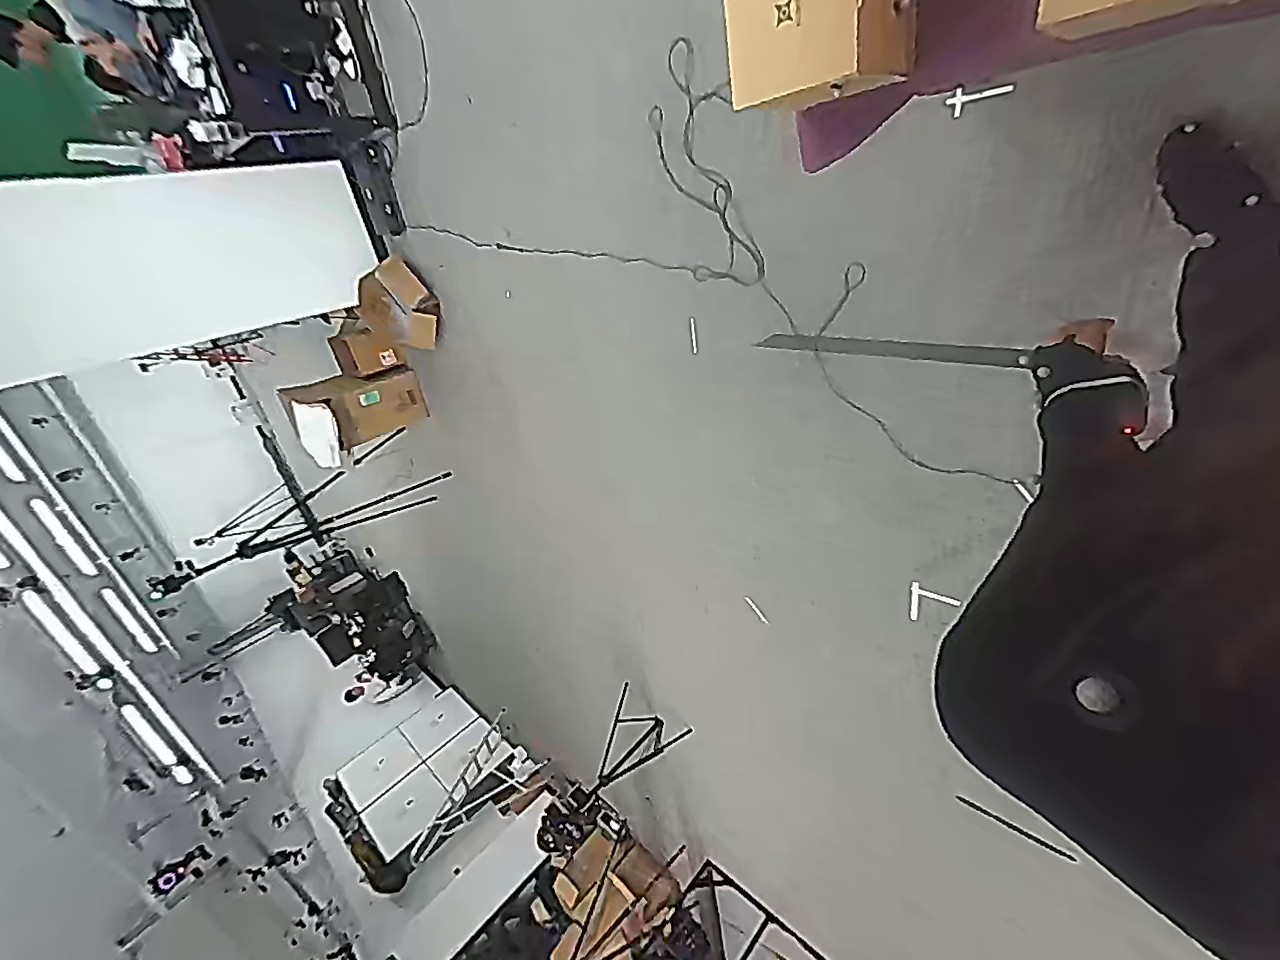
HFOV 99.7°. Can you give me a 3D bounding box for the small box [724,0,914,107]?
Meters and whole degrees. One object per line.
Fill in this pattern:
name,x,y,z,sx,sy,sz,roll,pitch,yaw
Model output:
small box,0.228,-0.590,0.687,0.179,0.176,0.168,14,126,42
